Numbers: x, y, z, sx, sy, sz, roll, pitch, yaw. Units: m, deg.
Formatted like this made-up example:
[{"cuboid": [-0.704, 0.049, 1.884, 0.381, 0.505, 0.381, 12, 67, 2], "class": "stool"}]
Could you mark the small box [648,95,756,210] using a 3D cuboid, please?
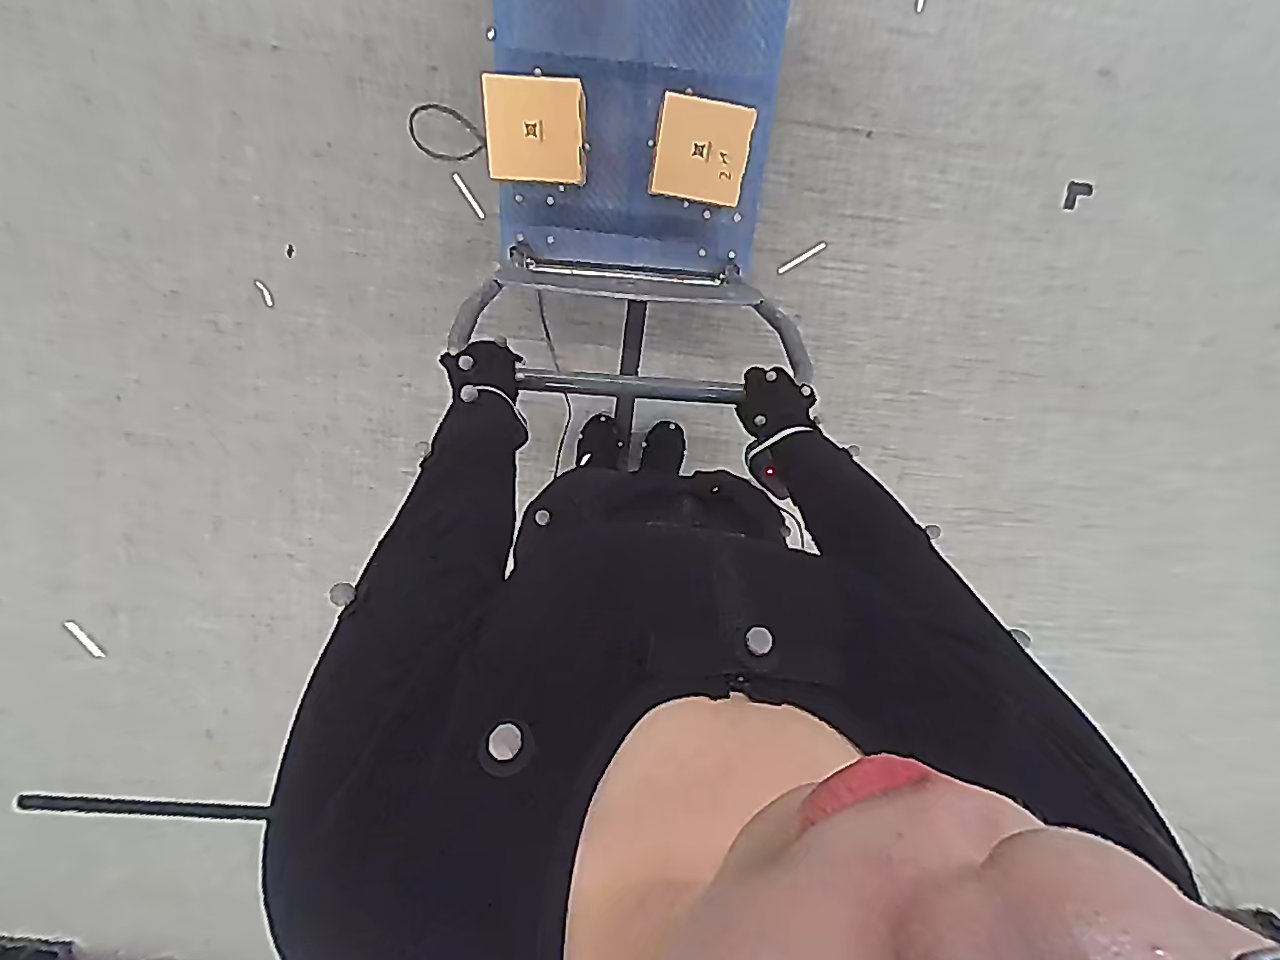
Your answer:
[{"cuboid": [0.113, -0.651, 1.094, 0.179, 0.176, 0.168, 7, 117, -6], "class": "small box"}]

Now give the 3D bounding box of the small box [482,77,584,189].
[{"cuboid": [-0.203, -0.675, 1.069, 0.179, 0.176, 0.168, 0, 116, -4], "class": "small box"}]
